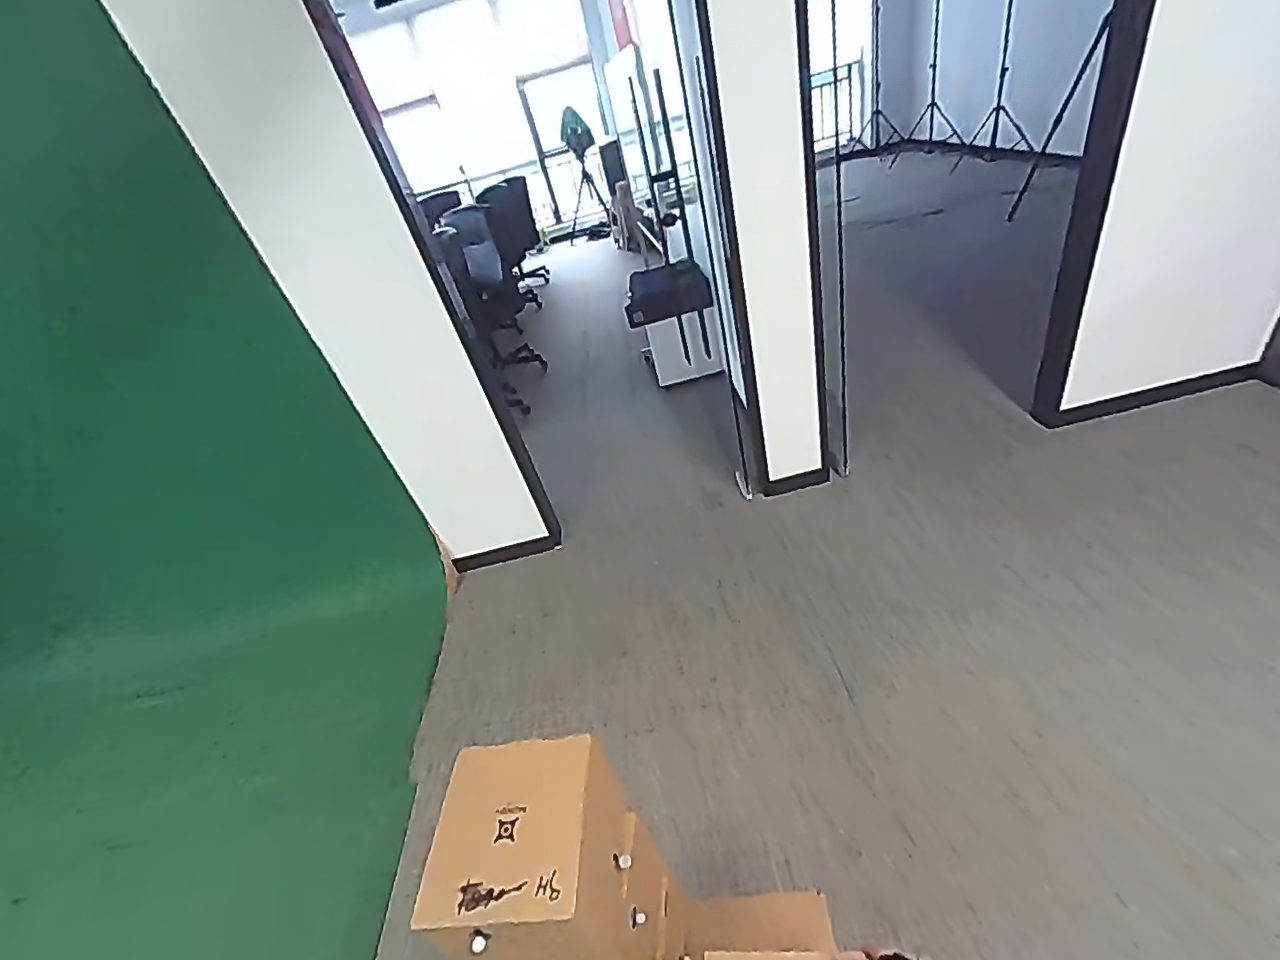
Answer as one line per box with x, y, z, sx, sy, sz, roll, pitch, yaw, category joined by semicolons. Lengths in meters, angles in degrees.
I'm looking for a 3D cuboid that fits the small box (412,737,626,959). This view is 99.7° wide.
-0.116;0.424;0.610;0.168;0.176;0.179;-11;34;9;small box

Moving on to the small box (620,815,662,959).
-0.074;0.559;0.696;0.168;0.176;0.179;-7;34;14;small box

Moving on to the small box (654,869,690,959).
-0.030;0.690;0.786;0.179;0.176;0.168;-7;36;12;small box
